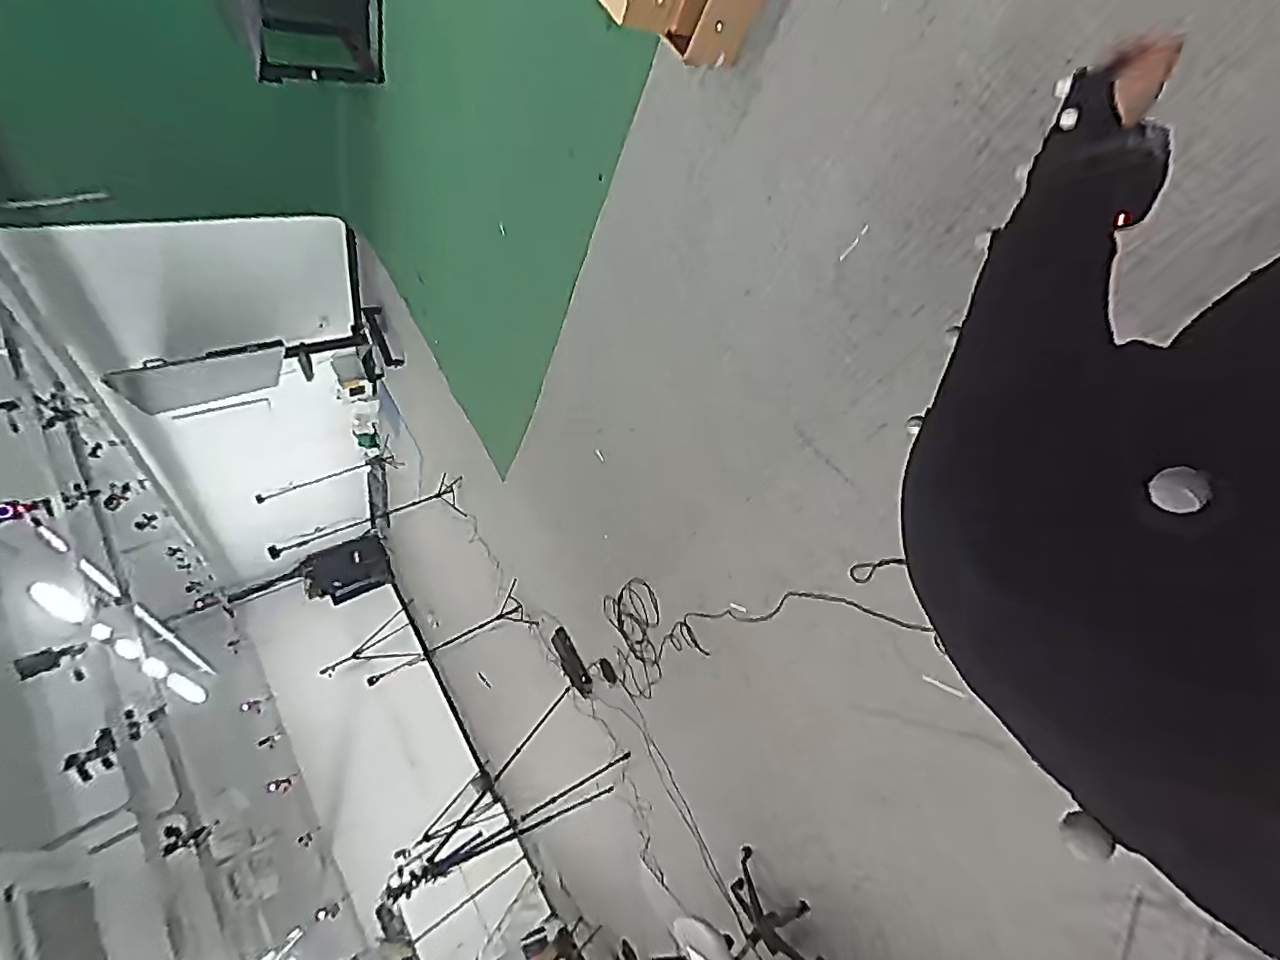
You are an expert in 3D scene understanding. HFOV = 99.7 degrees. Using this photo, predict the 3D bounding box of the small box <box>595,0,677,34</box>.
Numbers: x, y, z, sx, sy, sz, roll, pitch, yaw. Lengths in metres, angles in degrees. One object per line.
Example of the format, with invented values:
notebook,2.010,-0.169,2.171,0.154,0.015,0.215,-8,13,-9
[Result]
small box,-0.003,-1.312,1.417,0.179,0.176,0.168,58,145,12
